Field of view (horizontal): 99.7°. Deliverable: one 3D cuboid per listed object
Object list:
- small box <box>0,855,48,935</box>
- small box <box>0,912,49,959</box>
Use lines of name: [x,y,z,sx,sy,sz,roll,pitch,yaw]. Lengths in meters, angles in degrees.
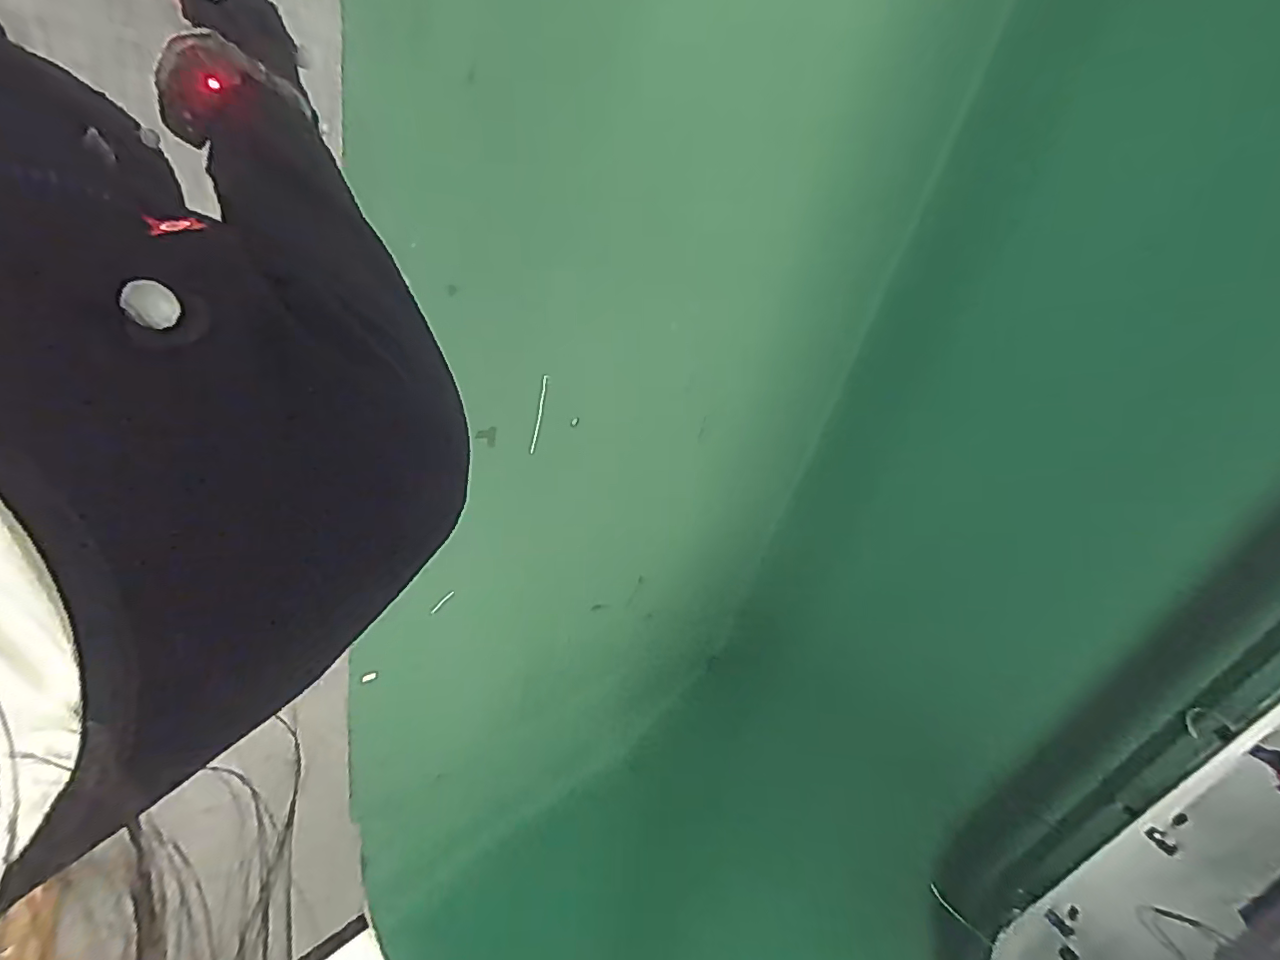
small box: [-1.721,1.153,1.433,0.179,0.176,0.168,-12,129,-45]
small box: [-1.613,1.241,1.349,0.168,0.176,0.179,-16,131,-45]
